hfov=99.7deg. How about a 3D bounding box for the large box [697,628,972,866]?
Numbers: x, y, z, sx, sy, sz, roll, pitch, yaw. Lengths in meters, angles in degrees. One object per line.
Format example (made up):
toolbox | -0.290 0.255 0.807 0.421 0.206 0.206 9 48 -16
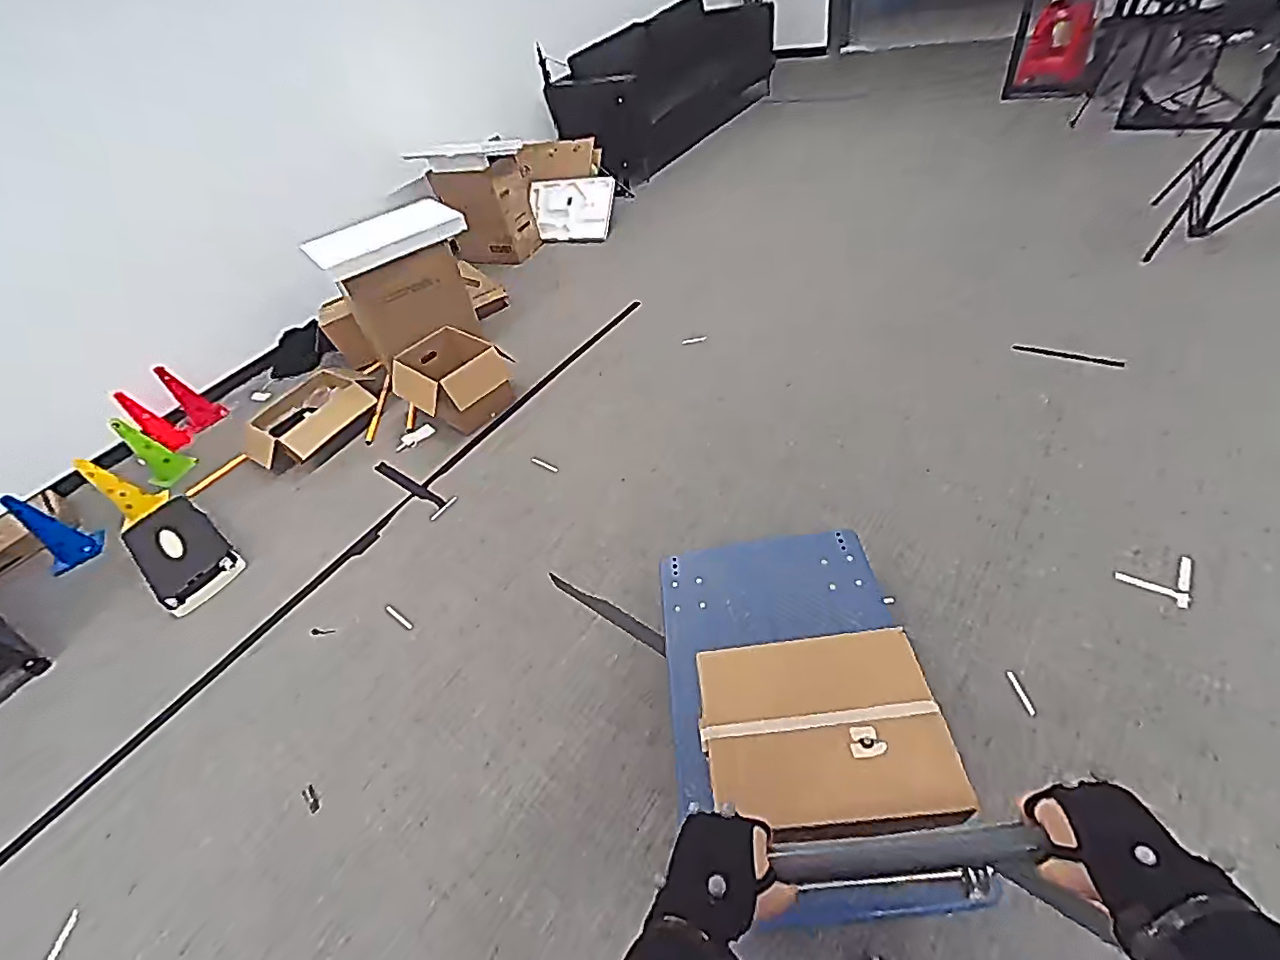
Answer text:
large box | 0.341 0.531 1.066 0.408 0.320 0.320 -9 46 5
